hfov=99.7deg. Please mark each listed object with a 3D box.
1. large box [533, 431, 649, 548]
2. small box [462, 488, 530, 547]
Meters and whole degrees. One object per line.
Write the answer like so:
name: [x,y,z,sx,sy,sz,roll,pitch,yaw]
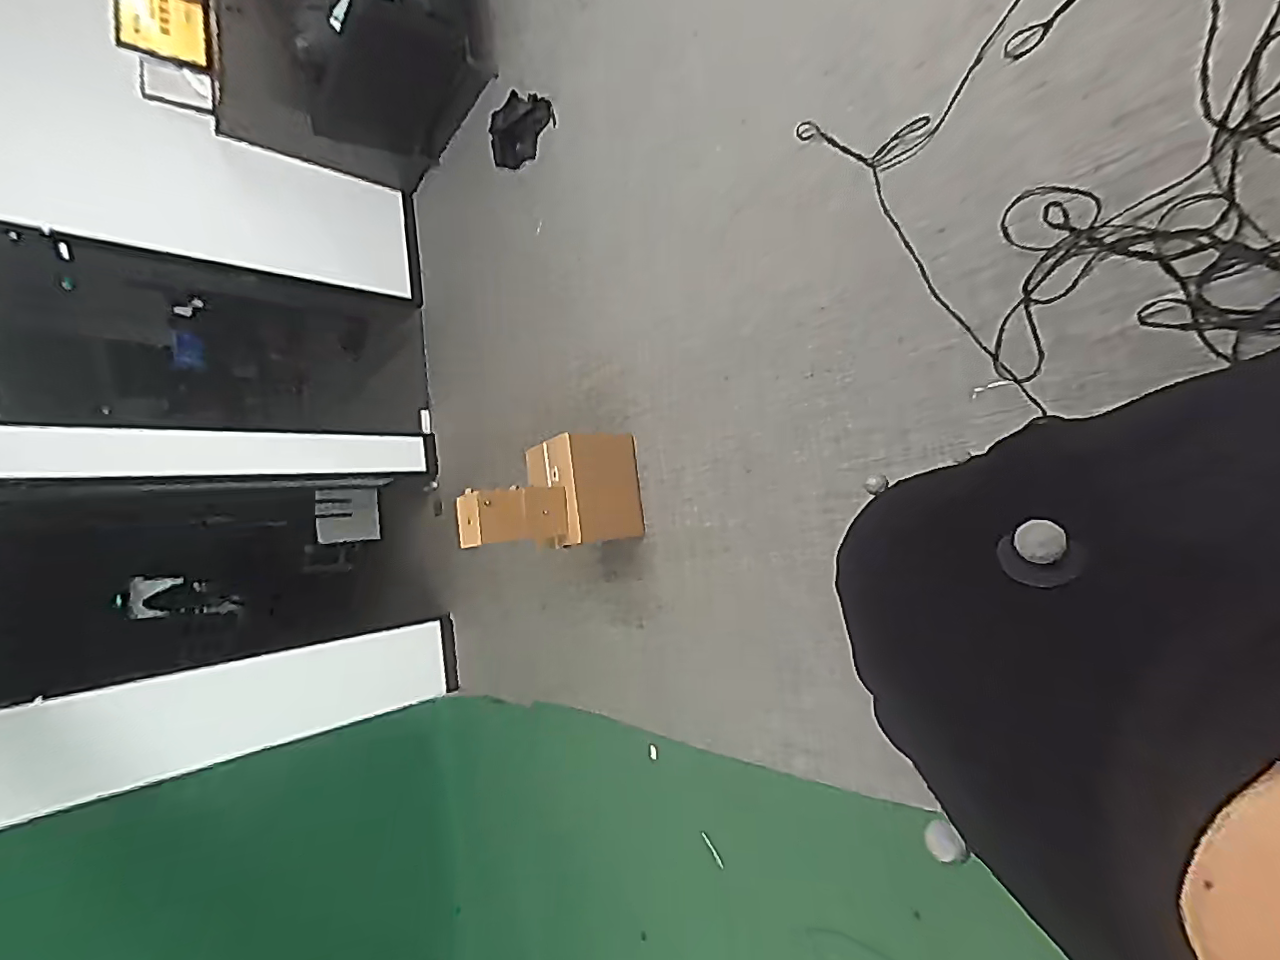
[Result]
large box: [-0.196,0.043,2.125,0.320,0.320,0.408,-15,79,47]
small box: [-0.488,0.128,1.844,0.168,0.176,0.179,-14,81,48]
